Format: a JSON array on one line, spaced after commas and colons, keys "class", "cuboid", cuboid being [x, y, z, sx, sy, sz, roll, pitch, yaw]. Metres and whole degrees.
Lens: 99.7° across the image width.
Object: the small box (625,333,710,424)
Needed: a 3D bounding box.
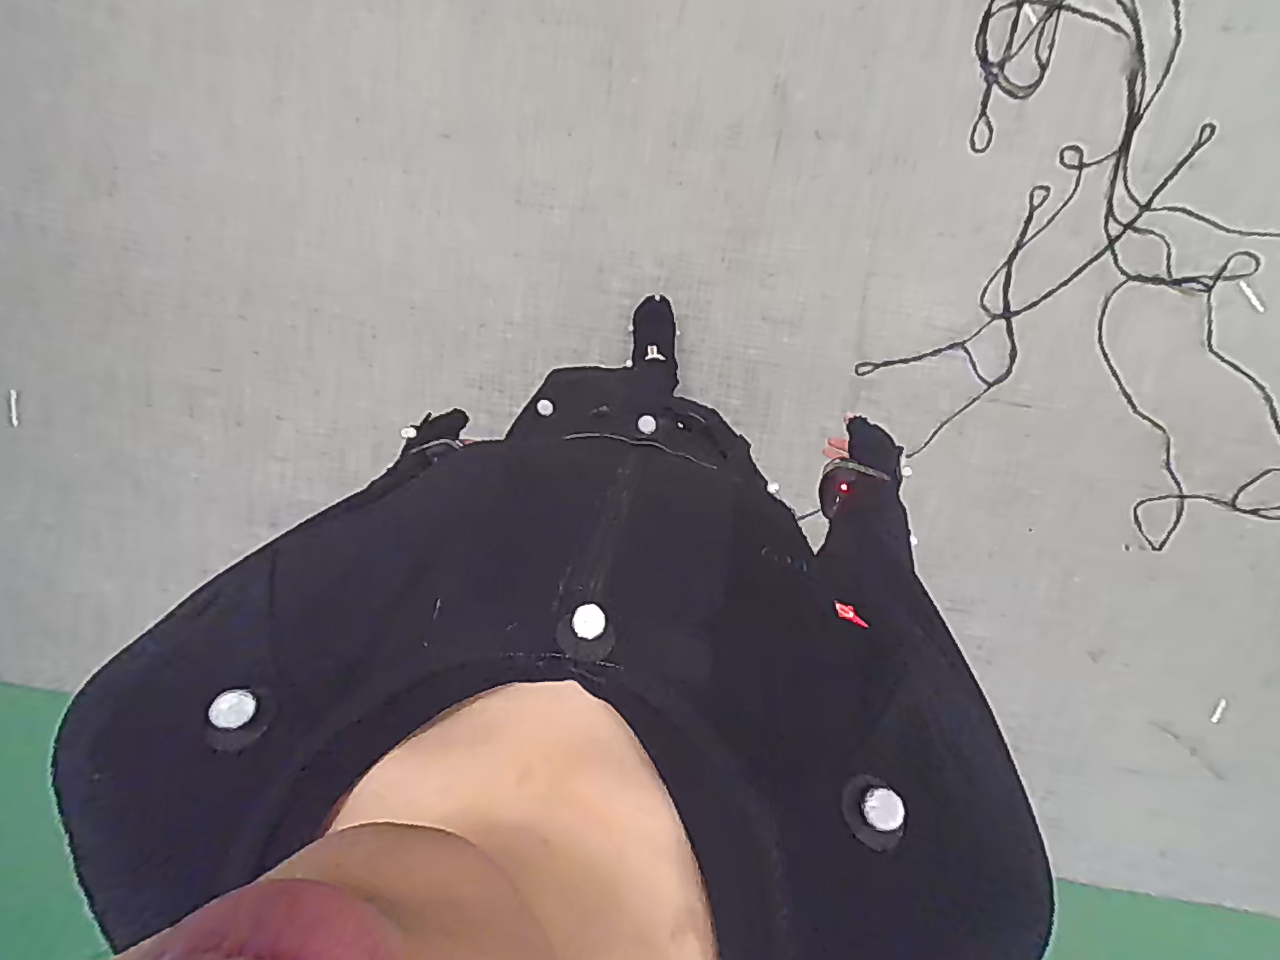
[{"class": "small box", "cuboid": [0.066, -0.258, 1.352, 0.168, 0.176, 0.179, 14, 107, -5]}]
